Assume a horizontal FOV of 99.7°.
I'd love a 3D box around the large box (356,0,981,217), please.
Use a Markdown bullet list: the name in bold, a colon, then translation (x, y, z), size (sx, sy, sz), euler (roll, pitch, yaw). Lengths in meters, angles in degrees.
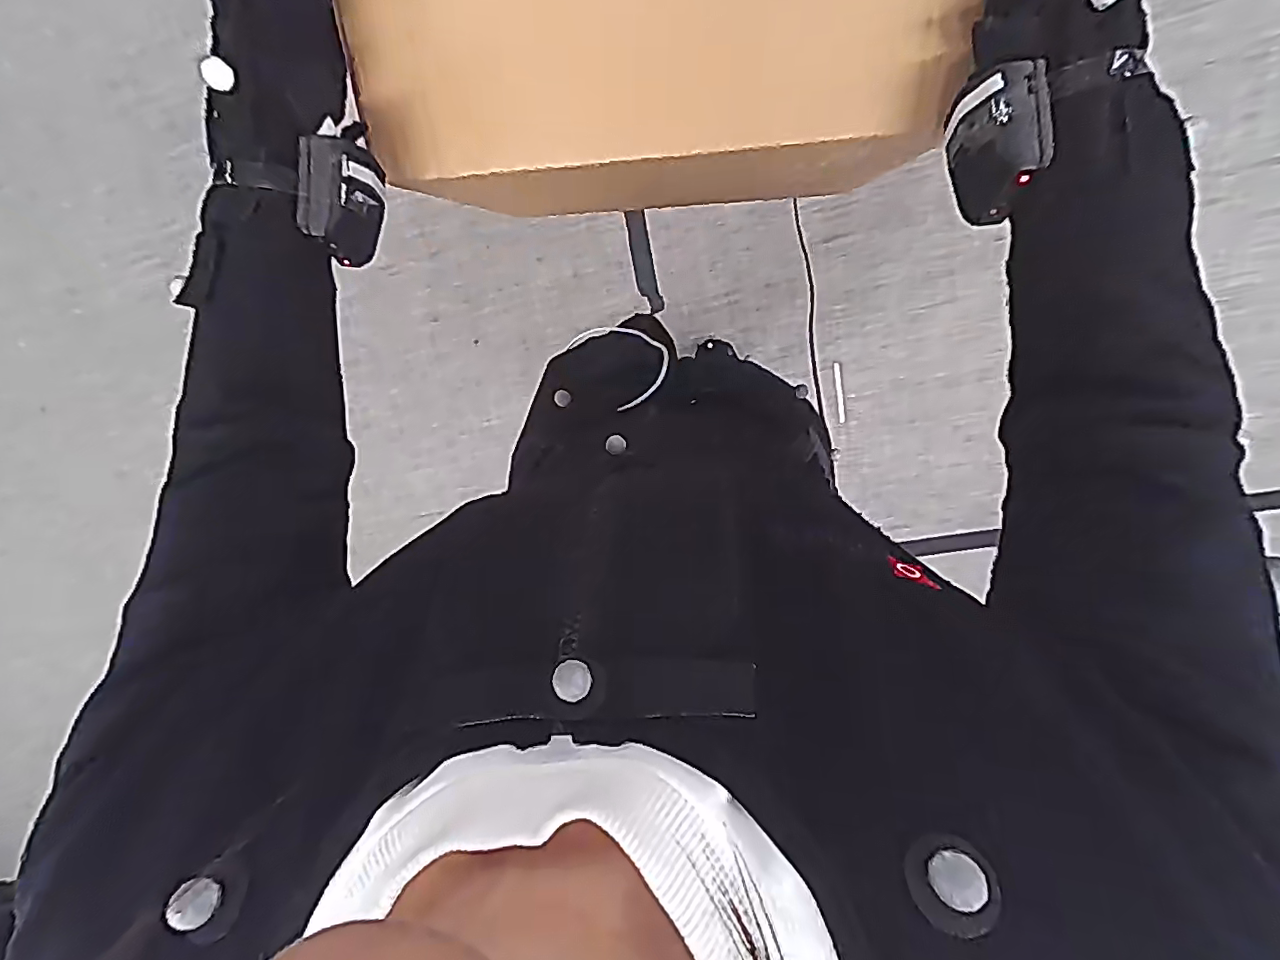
- **large box**: translation (0.017, -0.425, 0.458), size (0.408, 0.320, 0.320), euler (-2, 111, 6)
